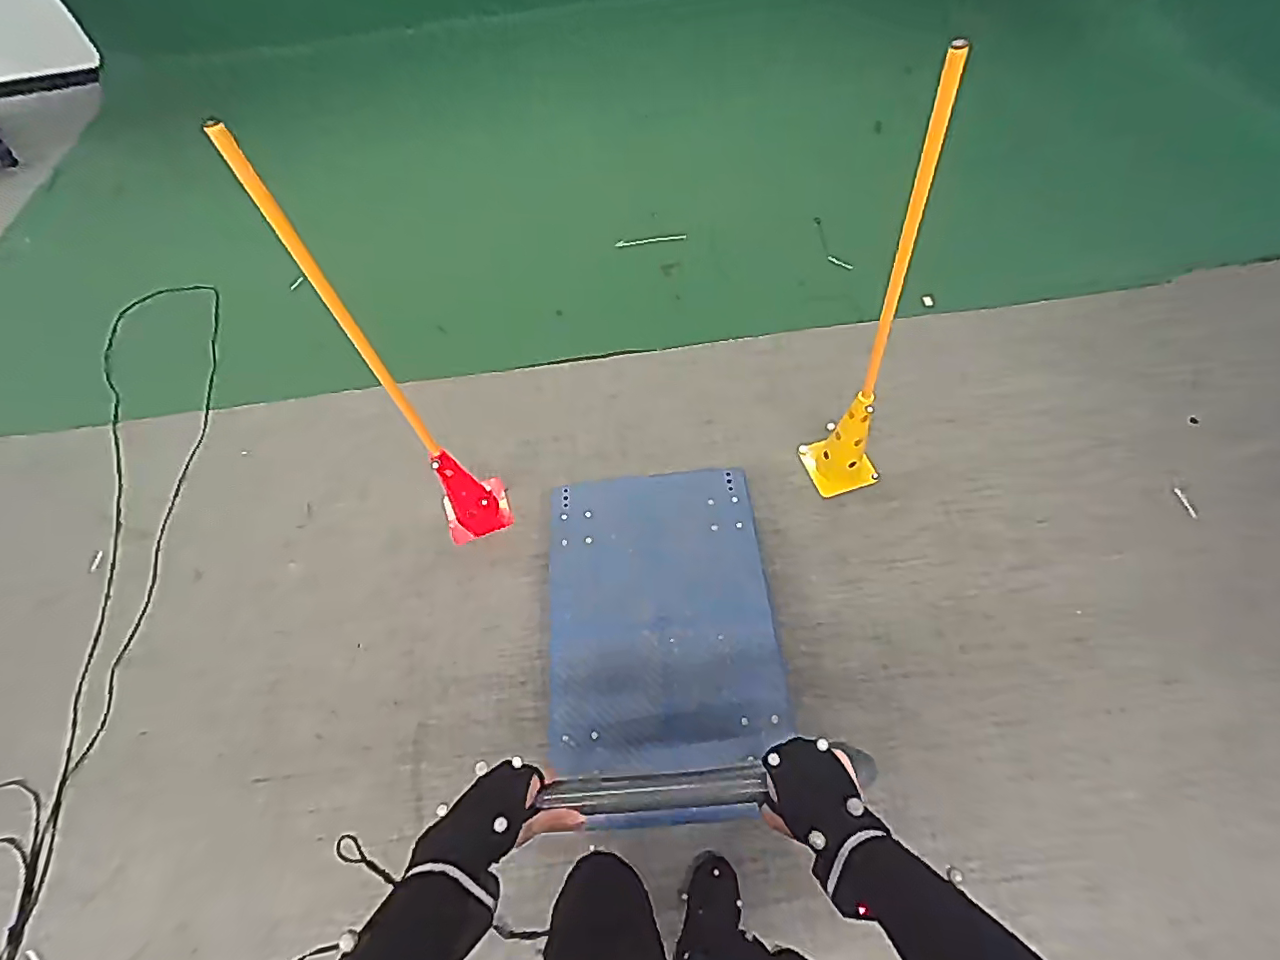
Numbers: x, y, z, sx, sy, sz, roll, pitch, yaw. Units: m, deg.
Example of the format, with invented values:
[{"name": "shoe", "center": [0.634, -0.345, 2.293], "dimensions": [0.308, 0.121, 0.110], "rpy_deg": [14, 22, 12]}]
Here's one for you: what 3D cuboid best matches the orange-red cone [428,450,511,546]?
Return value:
[{"name": "orange-red cone", "center": [-0.548, 0.023, 1.625], "dimensions": [0.199, 0.360, 0.198], "rpy_deg": [-20, 59, -5]}]
